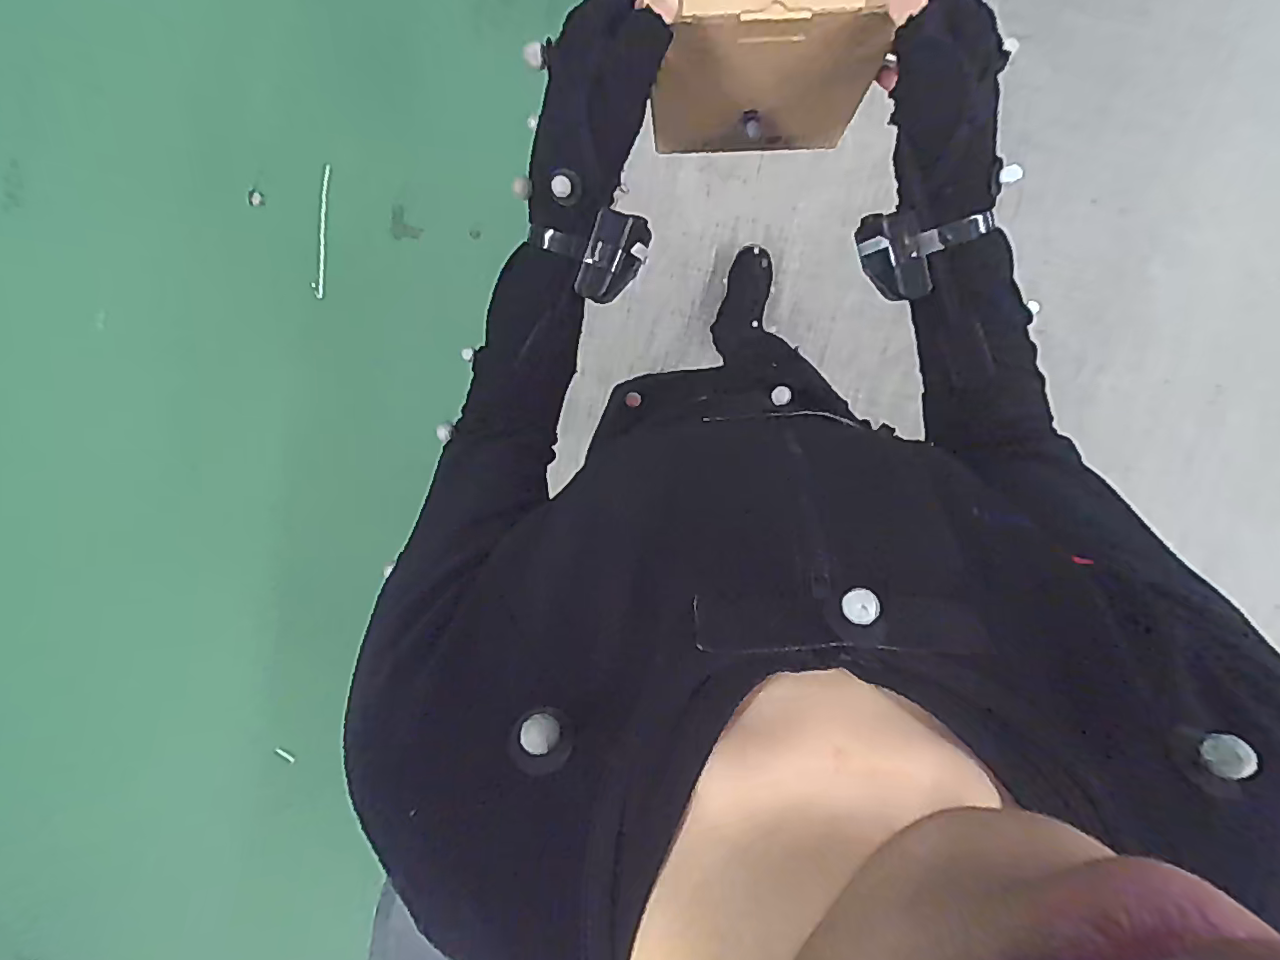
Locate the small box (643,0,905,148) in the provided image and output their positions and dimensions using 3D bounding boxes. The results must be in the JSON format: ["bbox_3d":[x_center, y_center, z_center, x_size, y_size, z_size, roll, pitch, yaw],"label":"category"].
[{"bbox_3d":[0.090,-0.385,0.406,0.168,0.176,0.179,2,95,5],"label":"small box"}]
